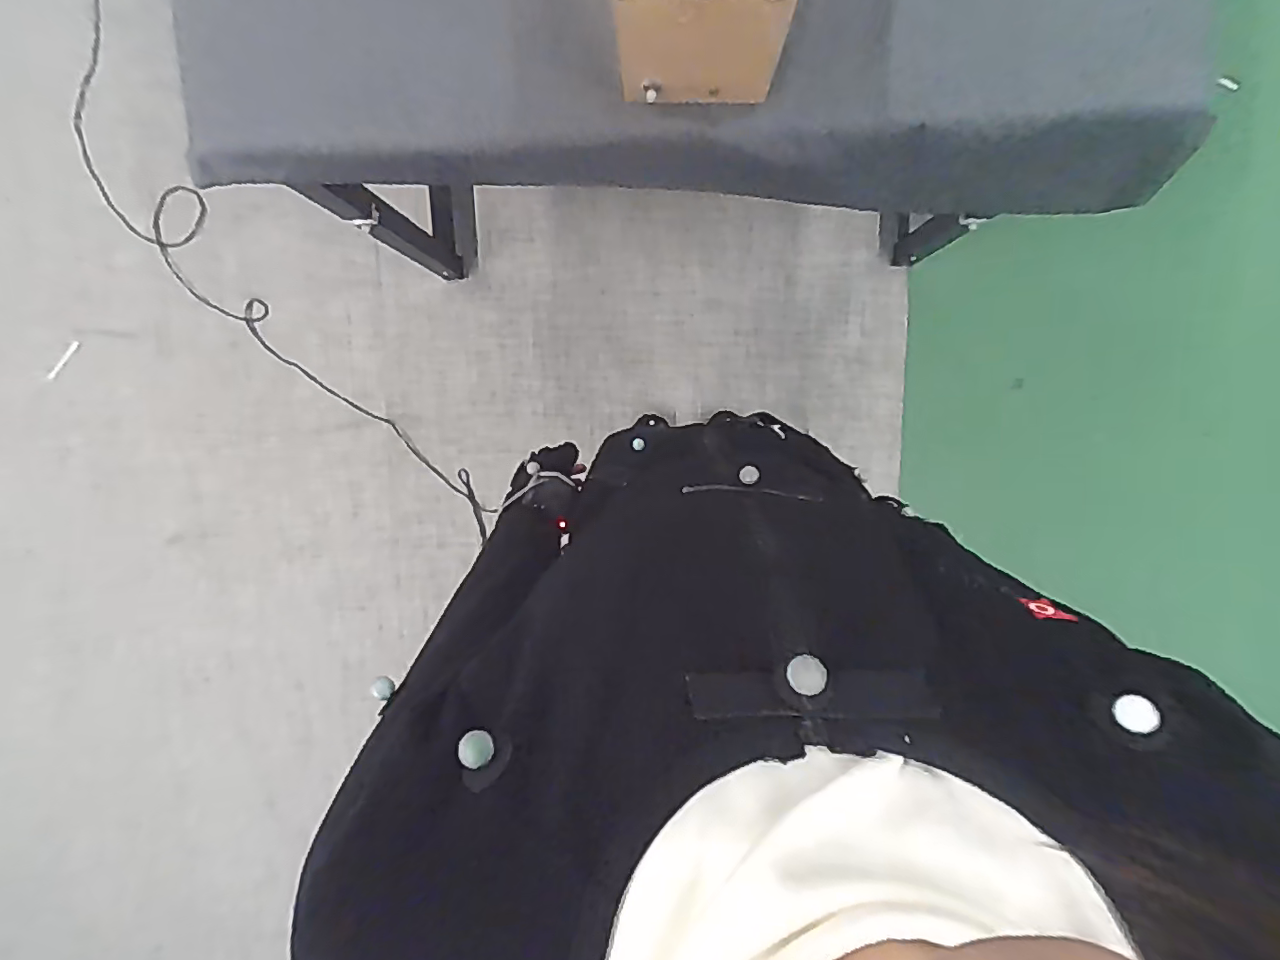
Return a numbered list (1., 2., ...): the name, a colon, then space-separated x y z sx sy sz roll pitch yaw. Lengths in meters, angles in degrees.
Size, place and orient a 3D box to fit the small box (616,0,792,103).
1. small box: 0.066 -0.526 0.558 0.168 0.176 0.179 3 96 1
